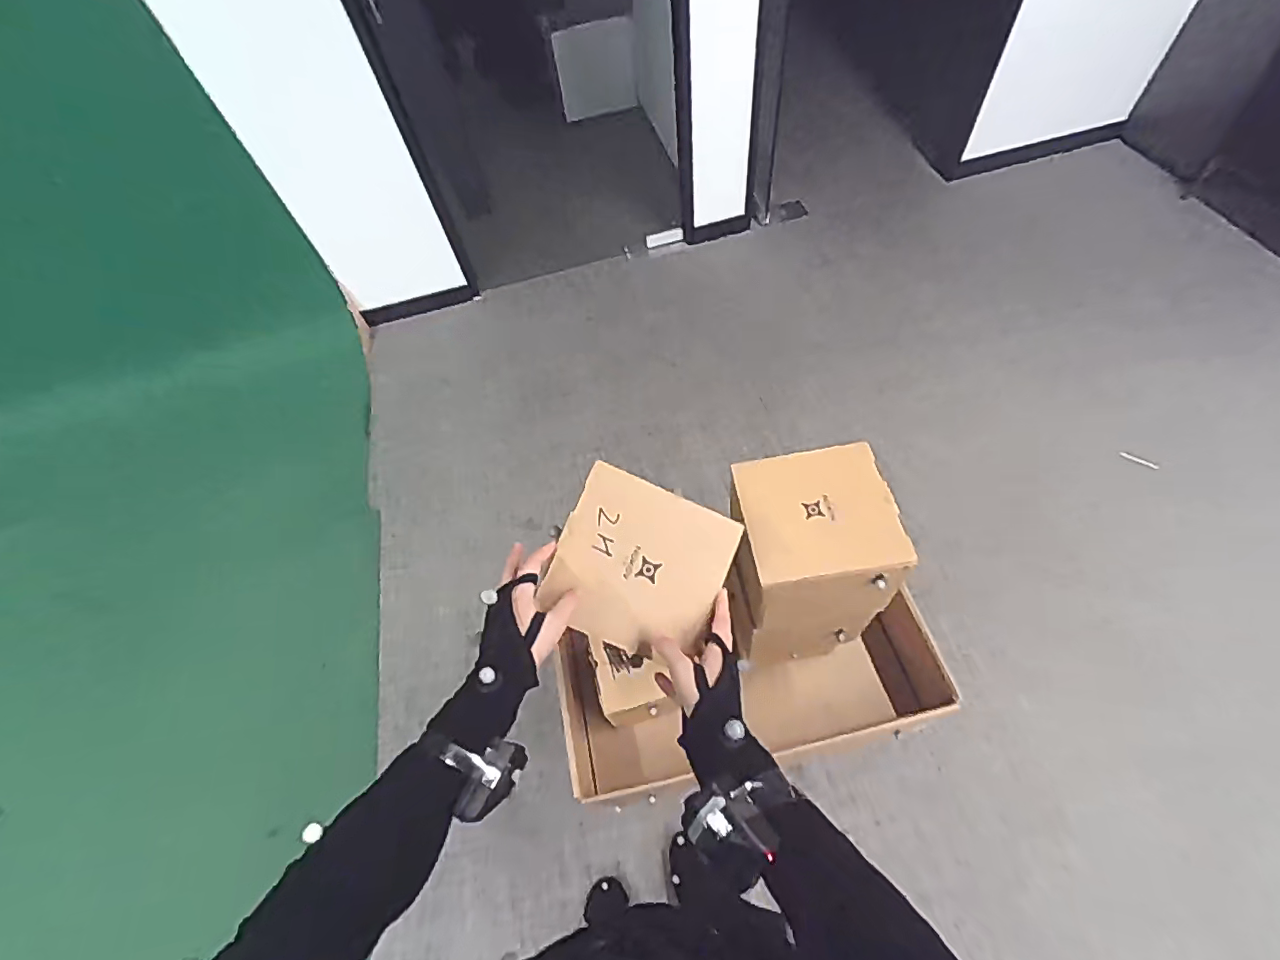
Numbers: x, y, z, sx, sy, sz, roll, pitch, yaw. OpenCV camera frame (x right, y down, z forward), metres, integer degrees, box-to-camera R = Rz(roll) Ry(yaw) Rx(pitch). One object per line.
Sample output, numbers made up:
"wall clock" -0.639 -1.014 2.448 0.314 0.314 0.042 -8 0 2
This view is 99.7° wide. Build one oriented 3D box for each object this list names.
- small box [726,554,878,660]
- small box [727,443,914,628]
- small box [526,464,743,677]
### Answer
"small box" 0.231 0.164 0.829 0.179 0.176 0.168 -12 58 3
"small box" 0.214 0.078 0.693 0.179 0.176 0.168 -10 57 3
"small box" -0.013 0.099 0.620 0.179 0.176 0.168 24 79 -5
